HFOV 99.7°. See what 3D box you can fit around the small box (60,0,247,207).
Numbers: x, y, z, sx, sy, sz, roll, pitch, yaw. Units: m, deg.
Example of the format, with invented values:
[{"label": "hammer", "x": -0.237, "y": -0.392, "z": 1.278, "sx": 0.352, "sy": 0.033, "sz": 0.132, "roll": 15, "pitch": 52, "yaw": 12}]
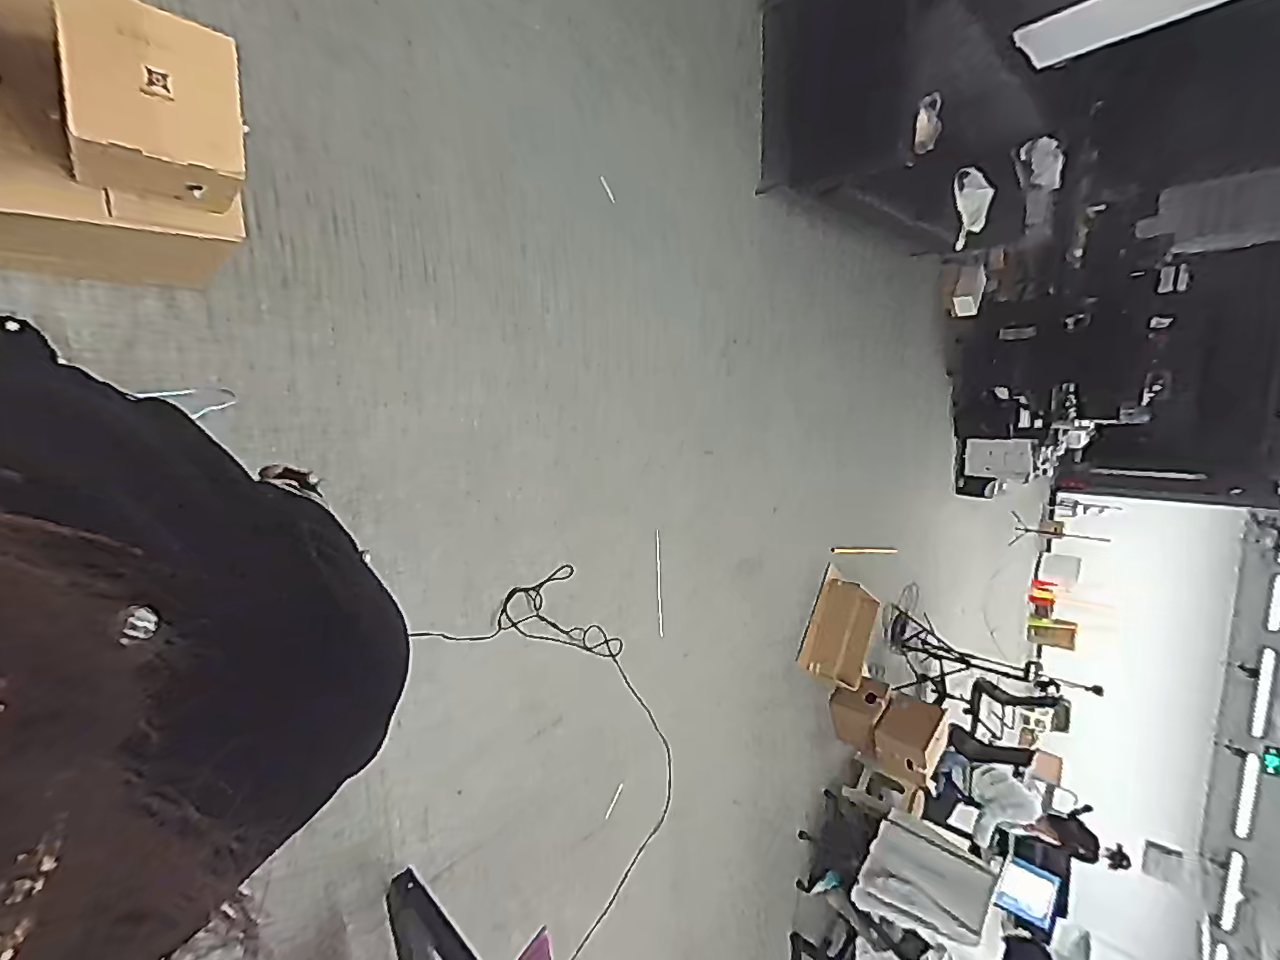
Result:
[{"label": "small box", "x": -0.633, "y": -0.487, "z": 0.712, "sx": 0.168, "sy": 0.176, "sz": 0.179, "roll": -5, "pitch": 99, "yaw": -44}]
